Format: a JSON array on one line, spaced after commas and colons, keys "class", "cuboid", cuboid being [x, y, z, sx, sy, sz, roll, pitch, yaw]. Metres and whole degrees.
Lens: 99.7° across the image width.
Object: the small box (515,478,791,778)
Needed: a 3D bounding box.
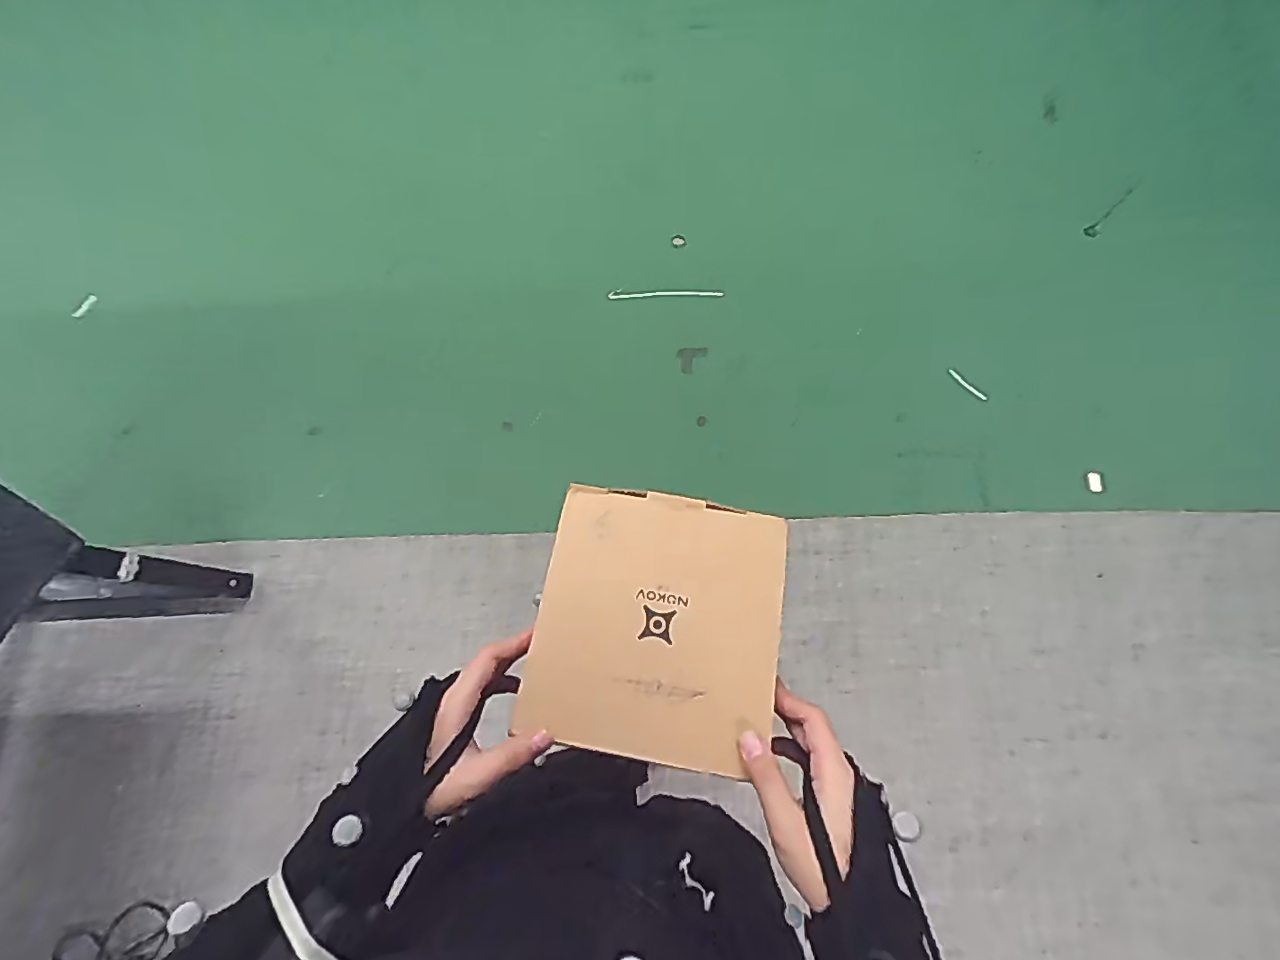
[{"class": "small box", "cuboid": [0.014, 0.120, 0.443, 0.168, 0.176, 0.179, 10, 69, 4]}]
